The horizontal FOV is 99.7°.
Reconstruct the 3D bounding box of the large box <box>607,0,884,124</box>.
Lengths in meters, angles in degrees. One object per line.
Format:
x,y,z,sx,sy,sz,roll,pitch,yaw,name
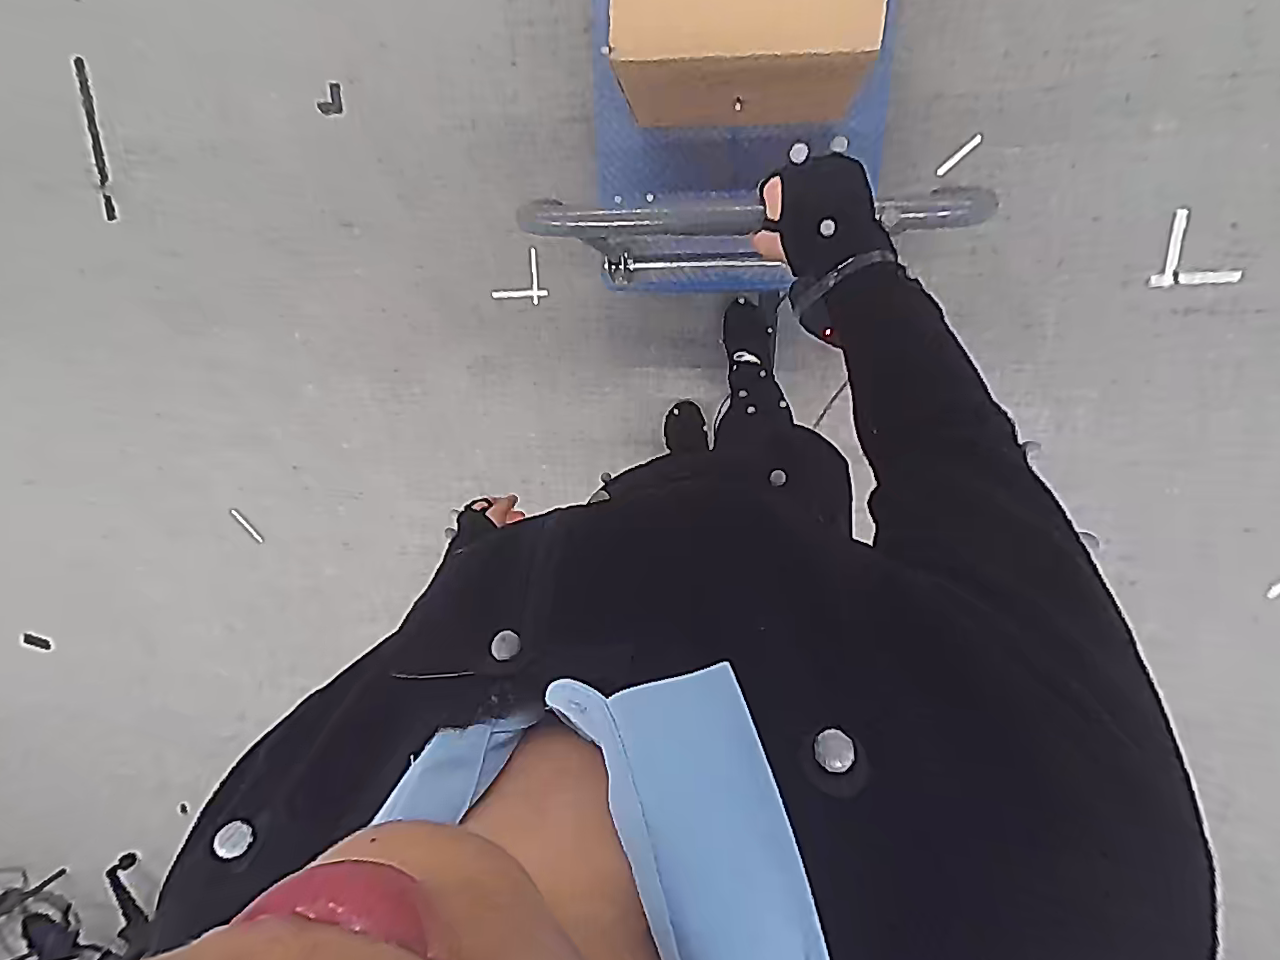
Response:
0.173,-0.823,0.898,0.408,0.320,0.320,4,106,9,large box
